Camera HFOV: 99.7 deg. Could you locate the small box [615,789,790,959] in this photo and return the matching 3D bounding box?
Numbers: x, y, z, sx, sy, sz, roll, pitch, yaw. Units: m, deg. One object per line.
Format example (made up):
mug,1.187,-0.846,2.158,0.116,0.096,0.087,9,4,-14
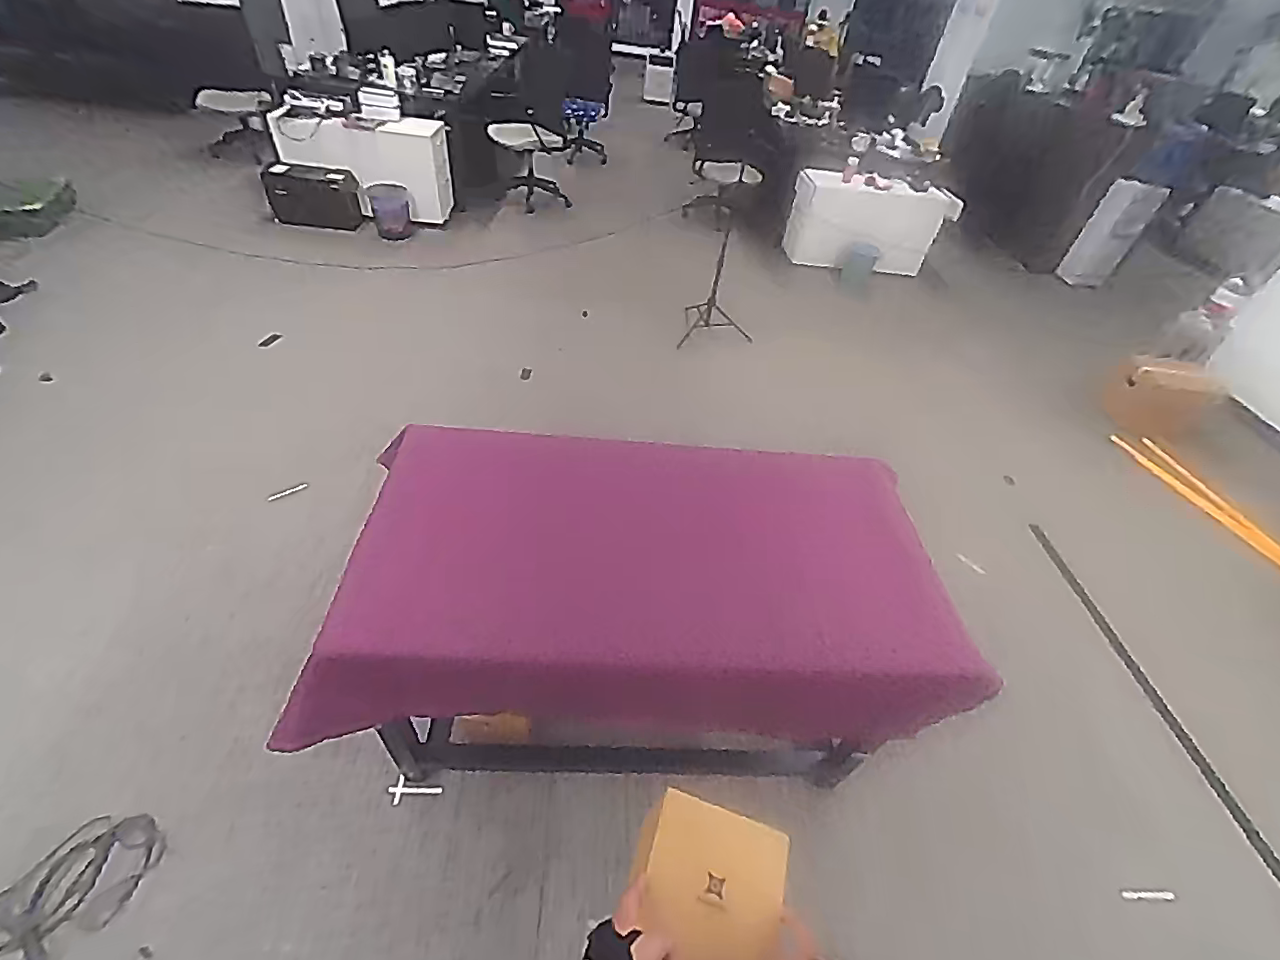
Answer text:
small box,0.075,0.534,0.687,0.168,0.176,0.179,19,47,5
